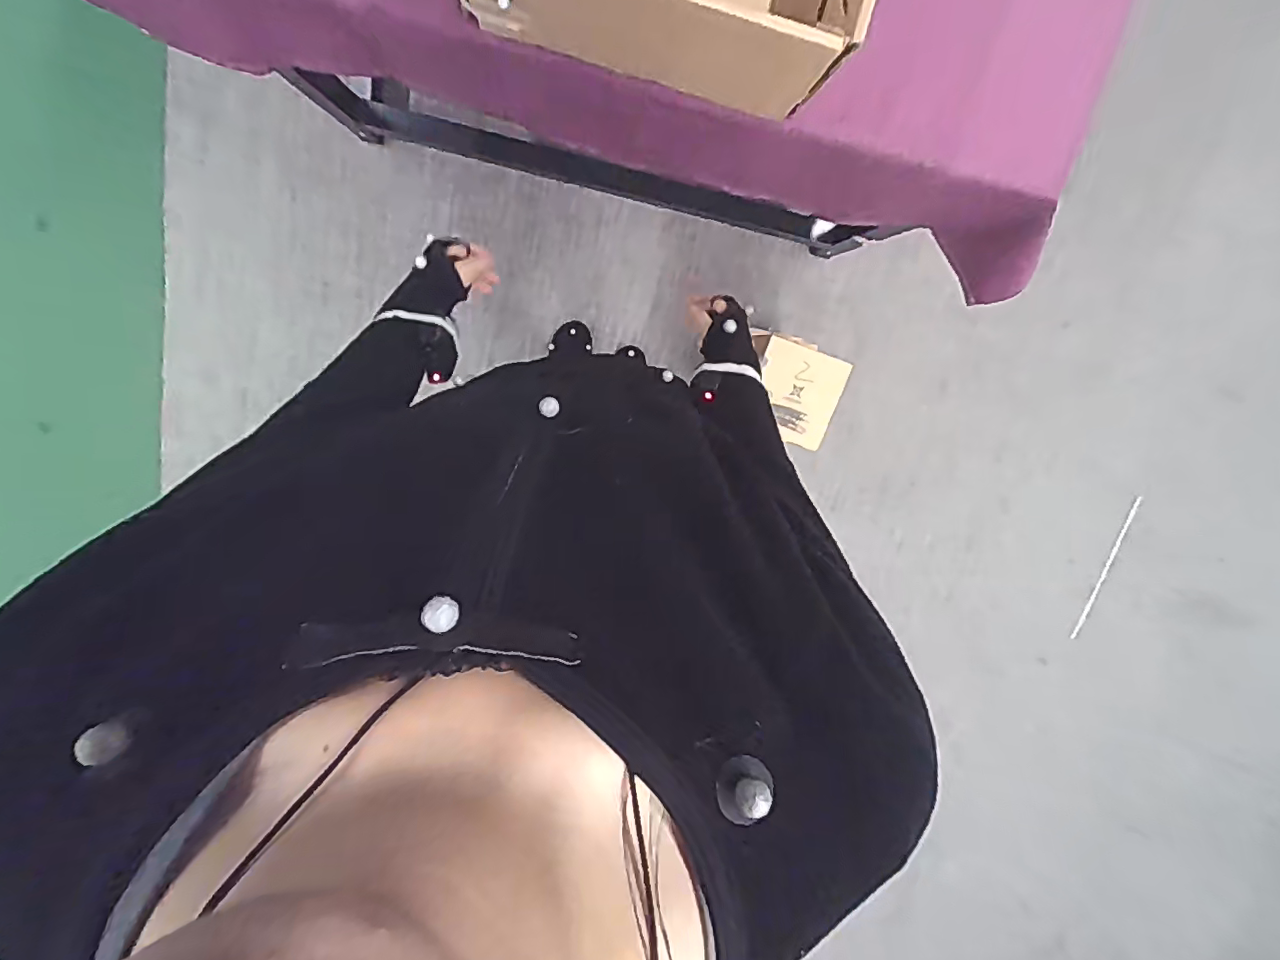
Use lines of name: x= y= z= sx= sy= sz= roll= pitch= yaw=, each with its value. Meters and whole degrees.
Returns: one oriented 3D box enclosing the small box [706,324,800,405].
small box: x=0.280 y=-0.299 z=1.385 sx=0.179 sy=0.176 sz=0.168 roll=11 pitch=104 yaw=-5
